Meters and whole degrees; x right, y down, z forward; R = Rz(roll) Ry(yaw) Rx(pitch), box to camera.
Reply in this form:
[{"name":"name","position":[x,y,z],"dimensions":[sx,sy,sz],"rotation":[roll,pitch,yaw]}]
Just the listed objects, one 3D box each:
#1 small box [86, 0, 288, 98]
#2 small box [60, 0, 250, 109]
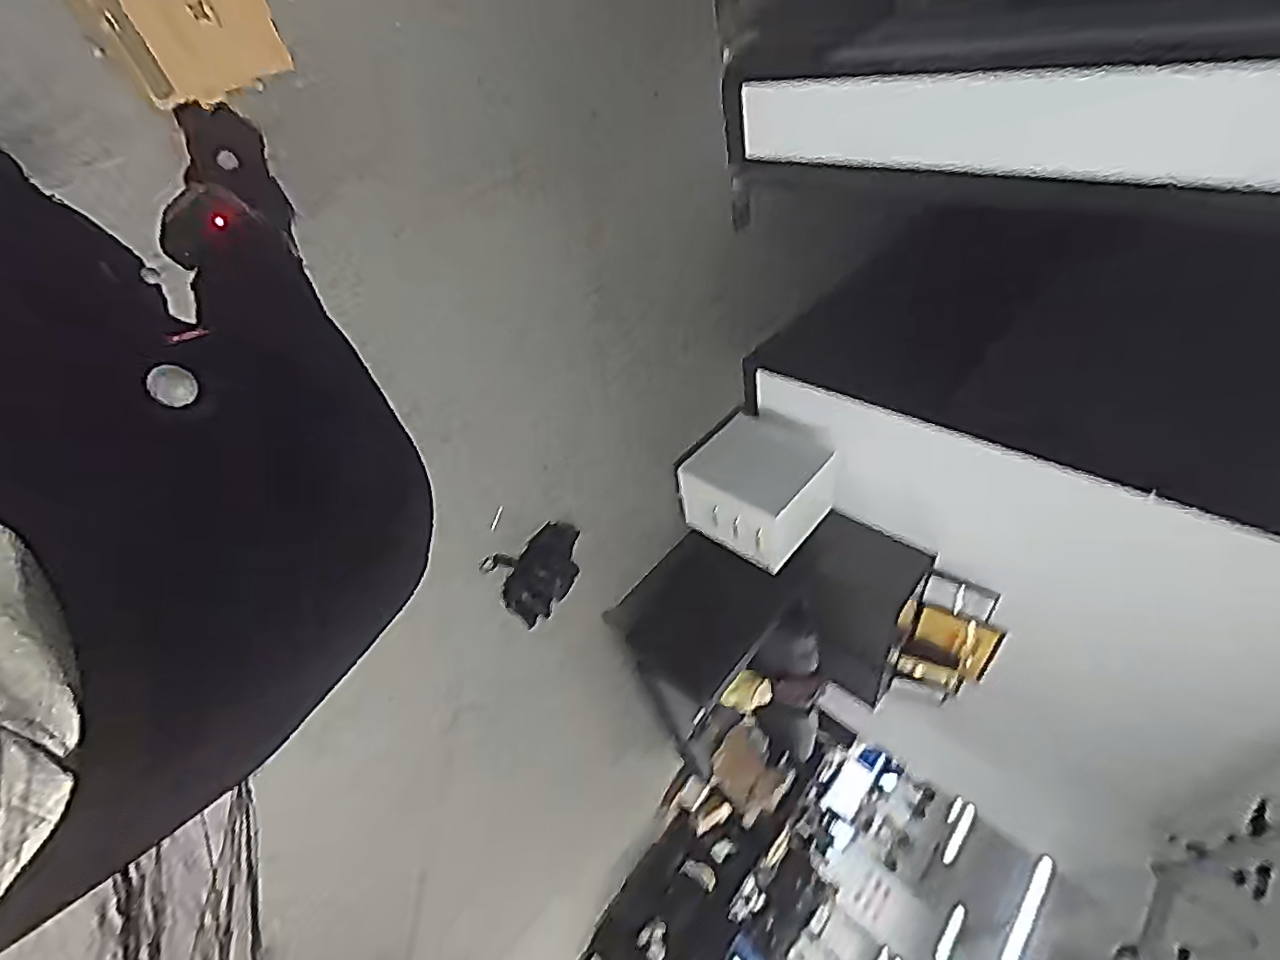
[{"name":"small box","position":[-0.671,-0.680,0.791],"dimensions":[0.179,0.176,0.168],"rotation":[-41,138,-25]},{"name":"small box","position":[-0.795,-0.732,0.884],"dimensions":[0.168,0.176,0.179],"rotation":[-41,140,-27]}]
